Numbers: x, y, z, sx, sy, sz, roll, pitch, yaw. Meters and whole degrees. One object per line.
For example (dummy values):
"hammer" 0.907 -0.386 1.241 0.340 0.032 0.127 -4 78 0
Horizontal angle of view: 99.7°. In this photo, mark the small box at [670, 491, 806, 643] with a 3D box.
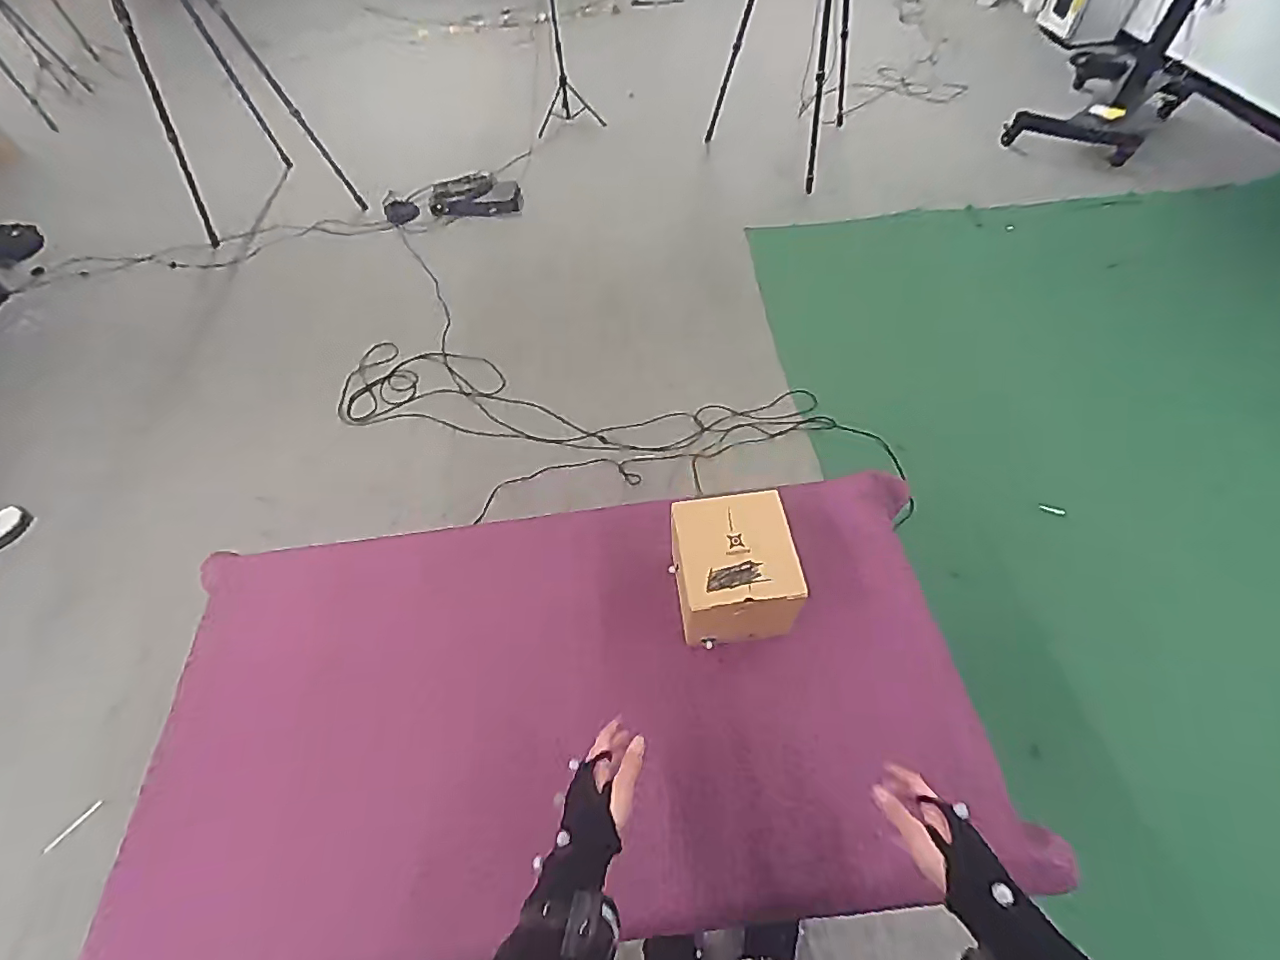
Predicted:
"small box" 0.140 0.141 0.831 0.168 0.176 0.179 -7 55 0
